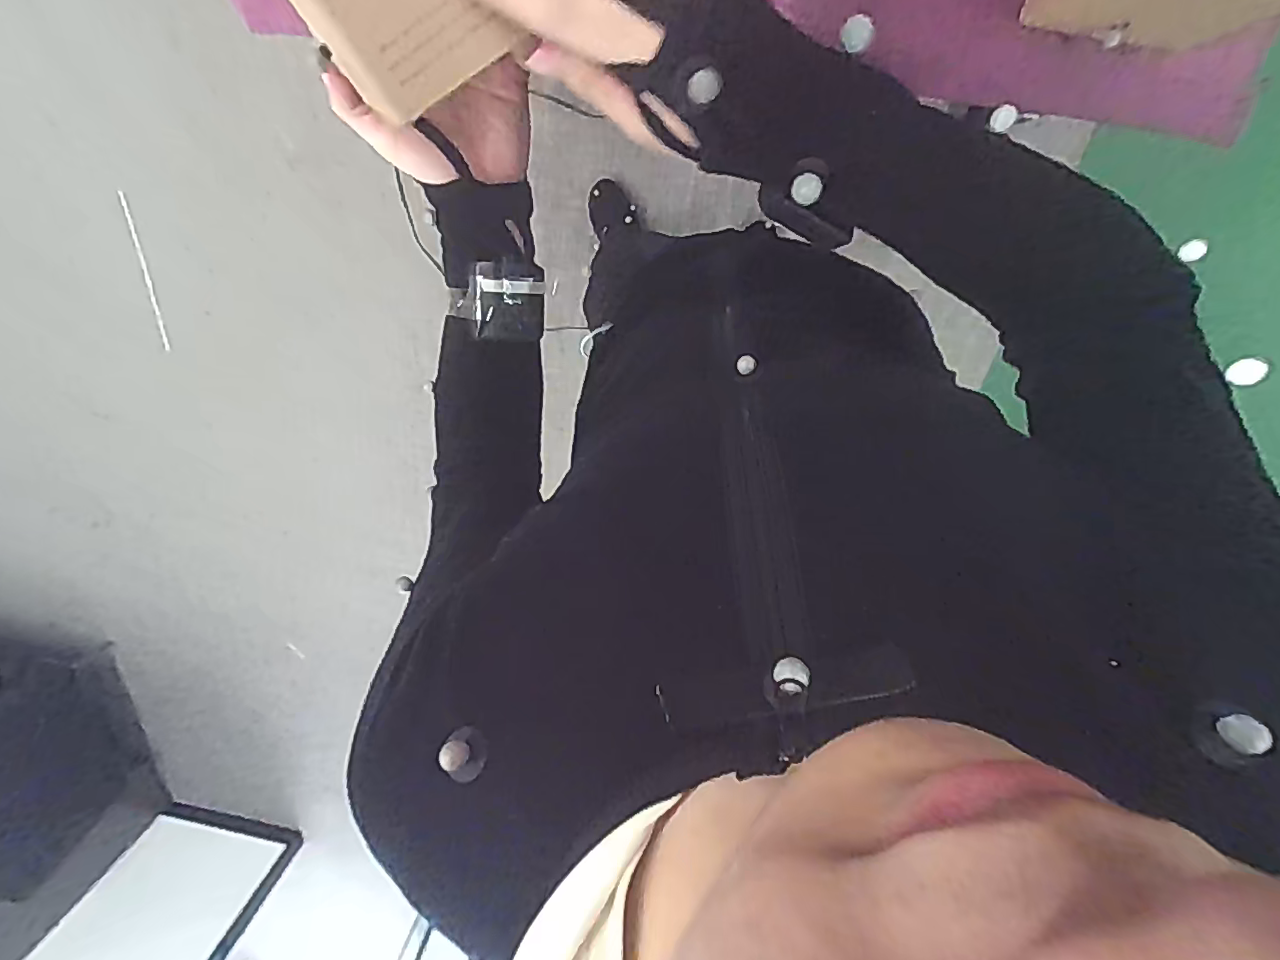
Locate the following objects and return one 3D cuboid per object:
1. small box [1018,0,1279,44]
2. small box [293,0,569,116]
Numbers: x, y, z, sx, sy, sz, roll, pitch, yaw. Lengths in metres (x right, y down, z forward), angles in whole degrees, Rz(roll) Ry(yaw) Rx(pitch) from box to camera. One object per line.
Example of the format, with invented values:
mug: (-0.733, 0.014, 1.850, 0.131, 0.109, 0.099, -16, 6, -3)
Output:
small box: (0.498, -0.525, 0.486, 0.179, 0.176, 0.168, 13, 116, 3)
small box: (-0.113, -0.304, 0.247, 0.179, 0.168, 0.176, -36, 137, 0)
